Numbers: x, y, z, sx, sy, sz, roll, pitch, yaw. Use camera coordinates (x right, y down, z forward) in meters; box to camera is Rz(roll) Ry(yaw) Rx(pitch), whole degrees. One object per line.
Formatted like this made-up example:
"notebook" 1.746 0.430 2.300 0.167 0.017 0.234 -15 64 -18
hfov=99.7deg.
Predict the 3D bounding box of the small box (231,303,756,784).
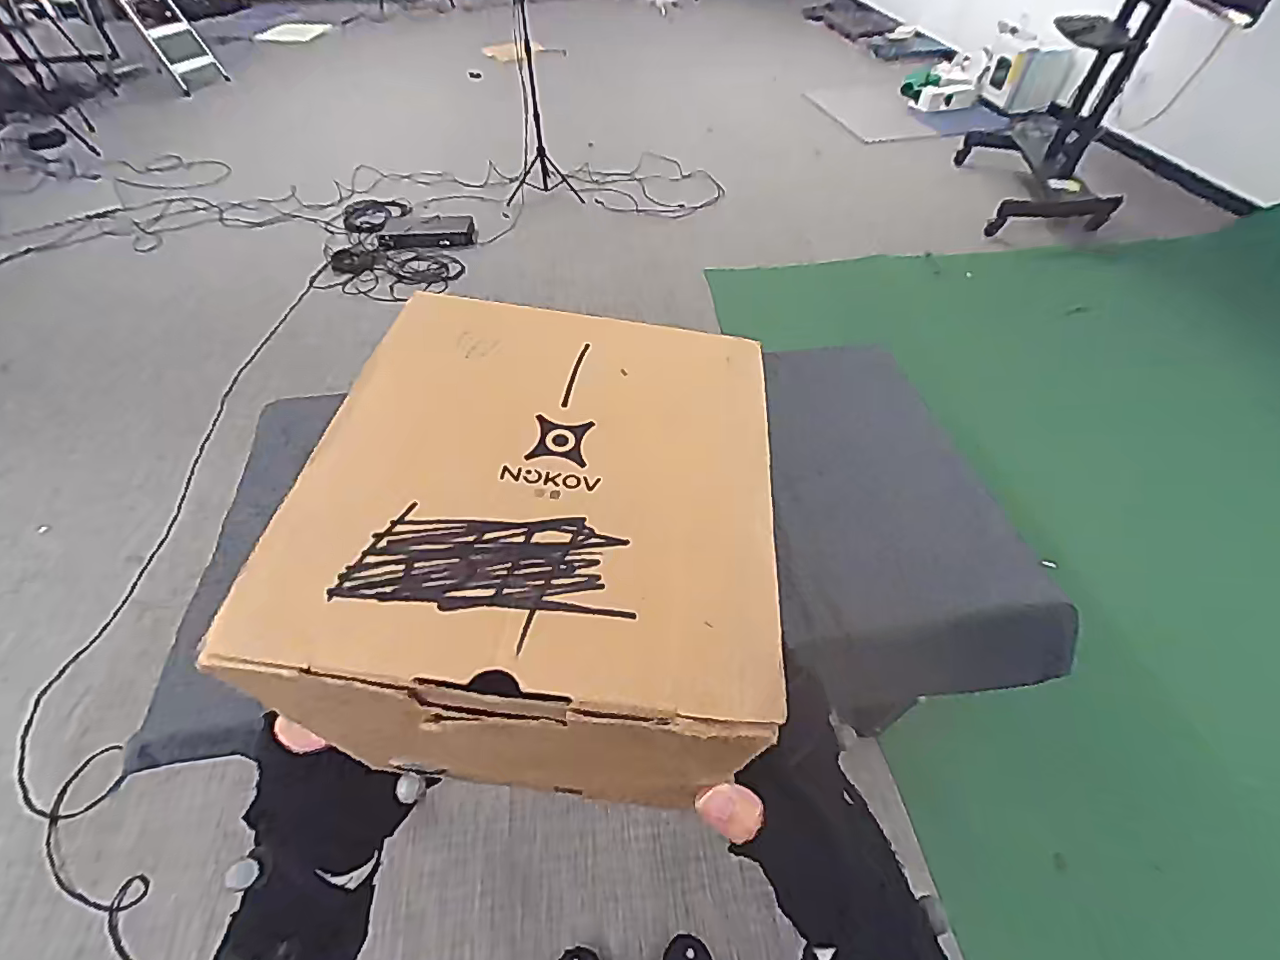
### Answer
"small box" -0.042 0.041 0.276 0.168 0.176 0.179 8 52 -1
